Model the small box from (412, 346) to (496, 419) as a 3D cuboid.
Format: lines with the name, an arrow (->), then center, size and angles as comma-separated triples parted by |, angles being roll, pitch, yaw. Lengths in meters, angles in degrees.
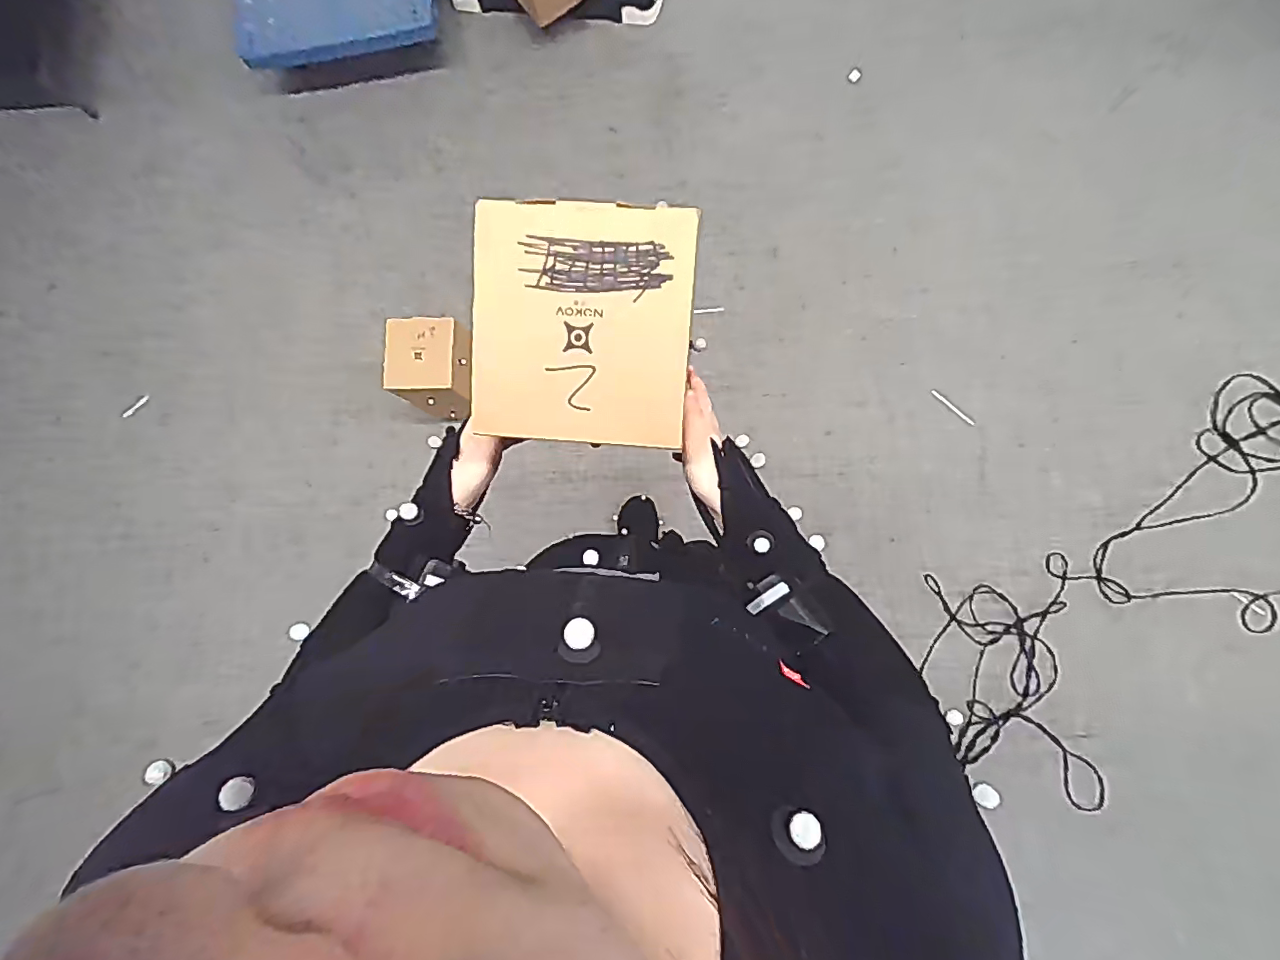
small box -> -0.509, -0.268, 1.502 | 0.179, 0.176, 0.168 | 0, 84, 4

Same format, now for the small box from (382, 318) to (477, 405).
small box -> -0.512, -0.286, 1.338 | 0.168, 0.176, 0.179 | 0, 84, 3
